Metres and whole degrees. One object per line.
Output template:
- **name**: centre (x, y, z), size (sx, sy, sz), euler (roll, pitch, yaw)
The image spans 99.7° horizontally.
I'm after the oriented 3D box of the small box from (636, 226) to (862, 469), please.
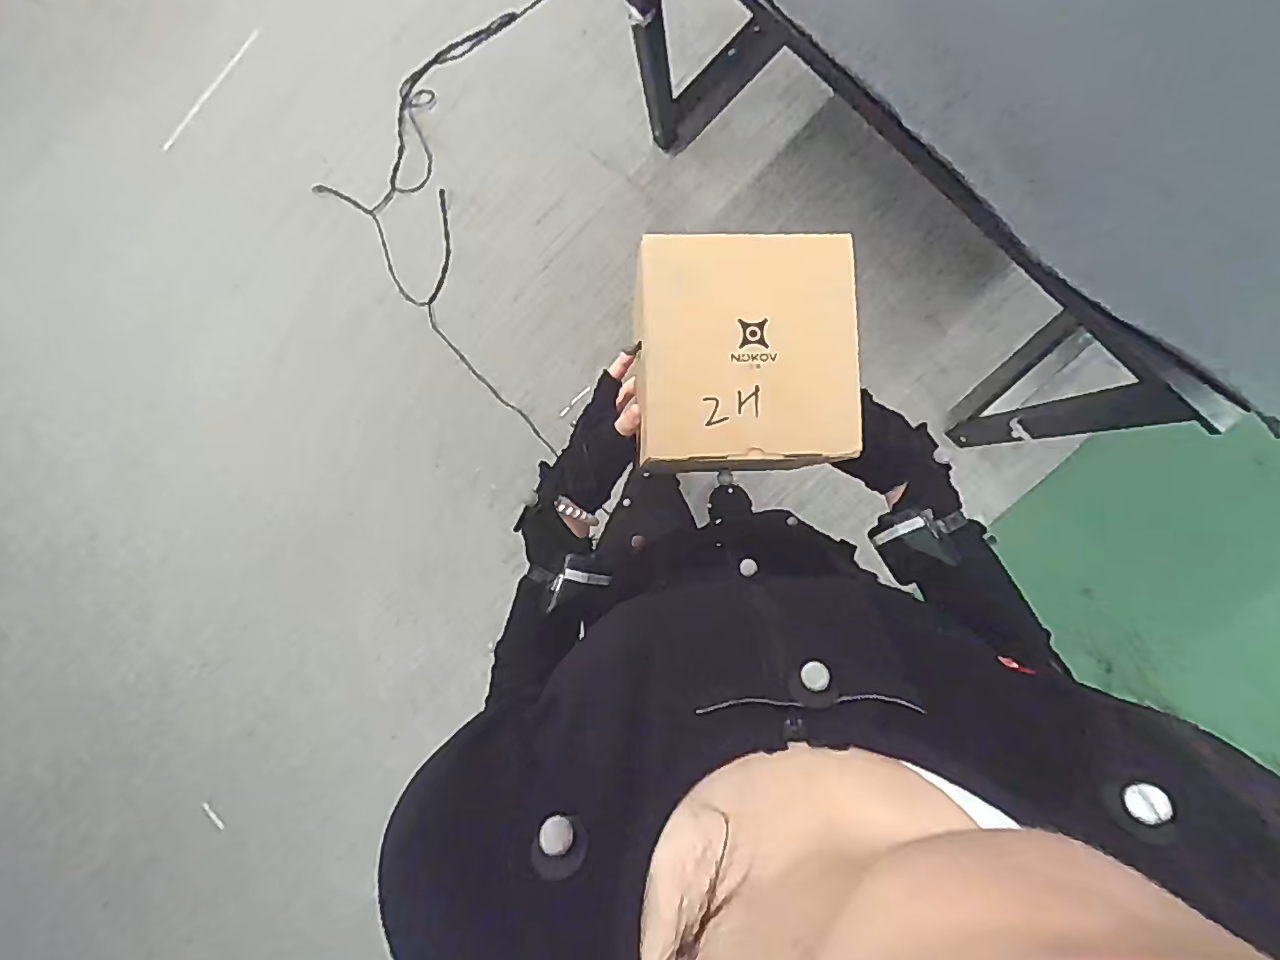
- **small box**: centre (0.083, -0.103, 0.491), size (0.168, 0.176, 0.179), euler (-1, 88, -3)
